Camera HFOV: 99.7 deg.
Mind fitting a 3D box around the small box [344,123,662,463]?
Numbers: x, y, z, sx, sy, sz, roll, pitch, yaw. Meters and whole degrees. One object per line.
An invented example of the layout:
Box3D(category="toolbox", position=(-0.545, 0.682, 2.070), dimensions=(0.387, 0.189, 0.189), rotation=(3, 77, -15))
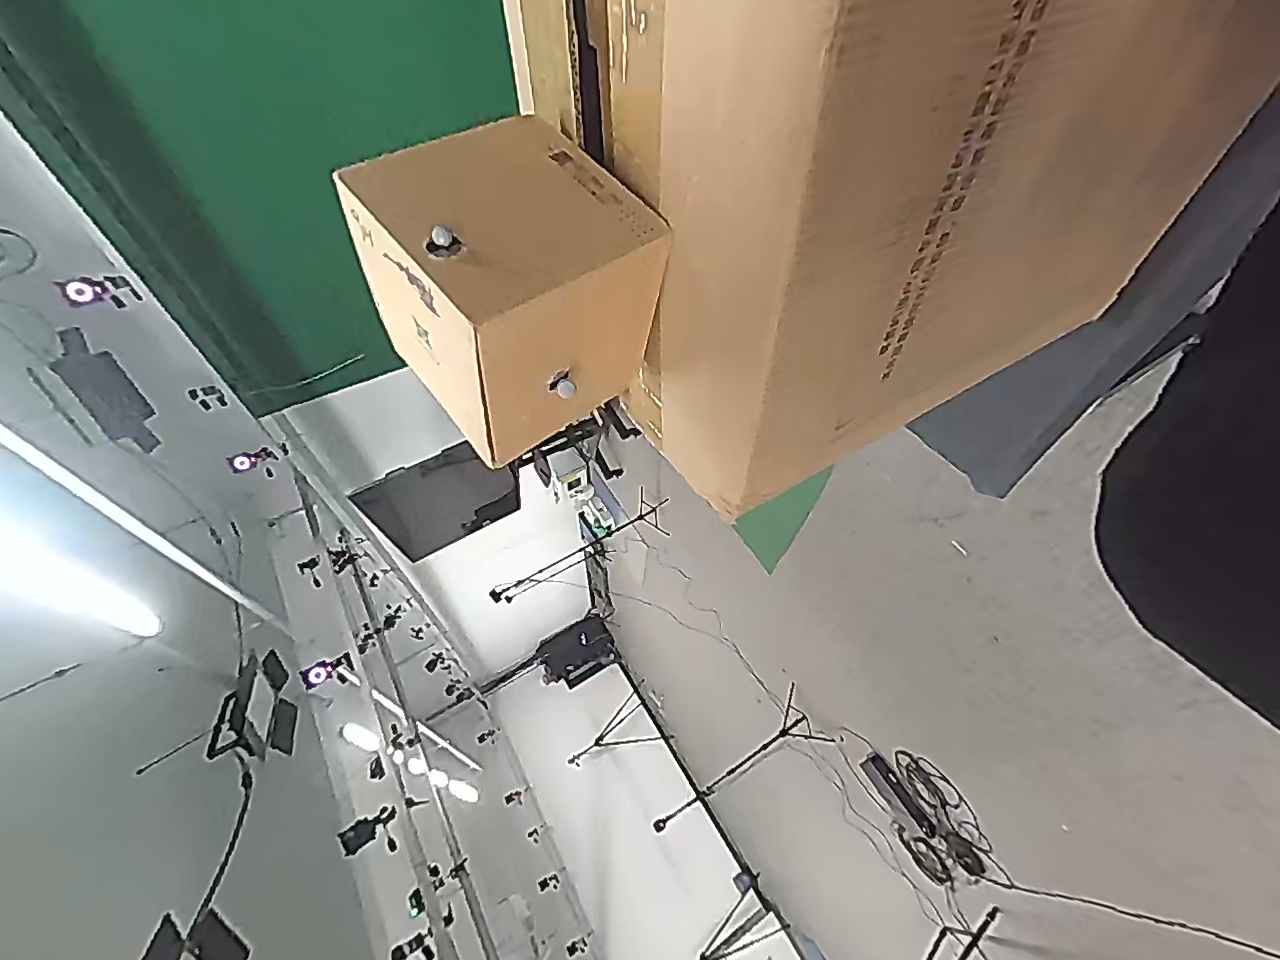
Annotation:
Box3D(category="small box", position=(-0.101, -0.152, 0.454), dimensions=(0.168, 0.176, 0.179), rotation=(46, 155, 15))
